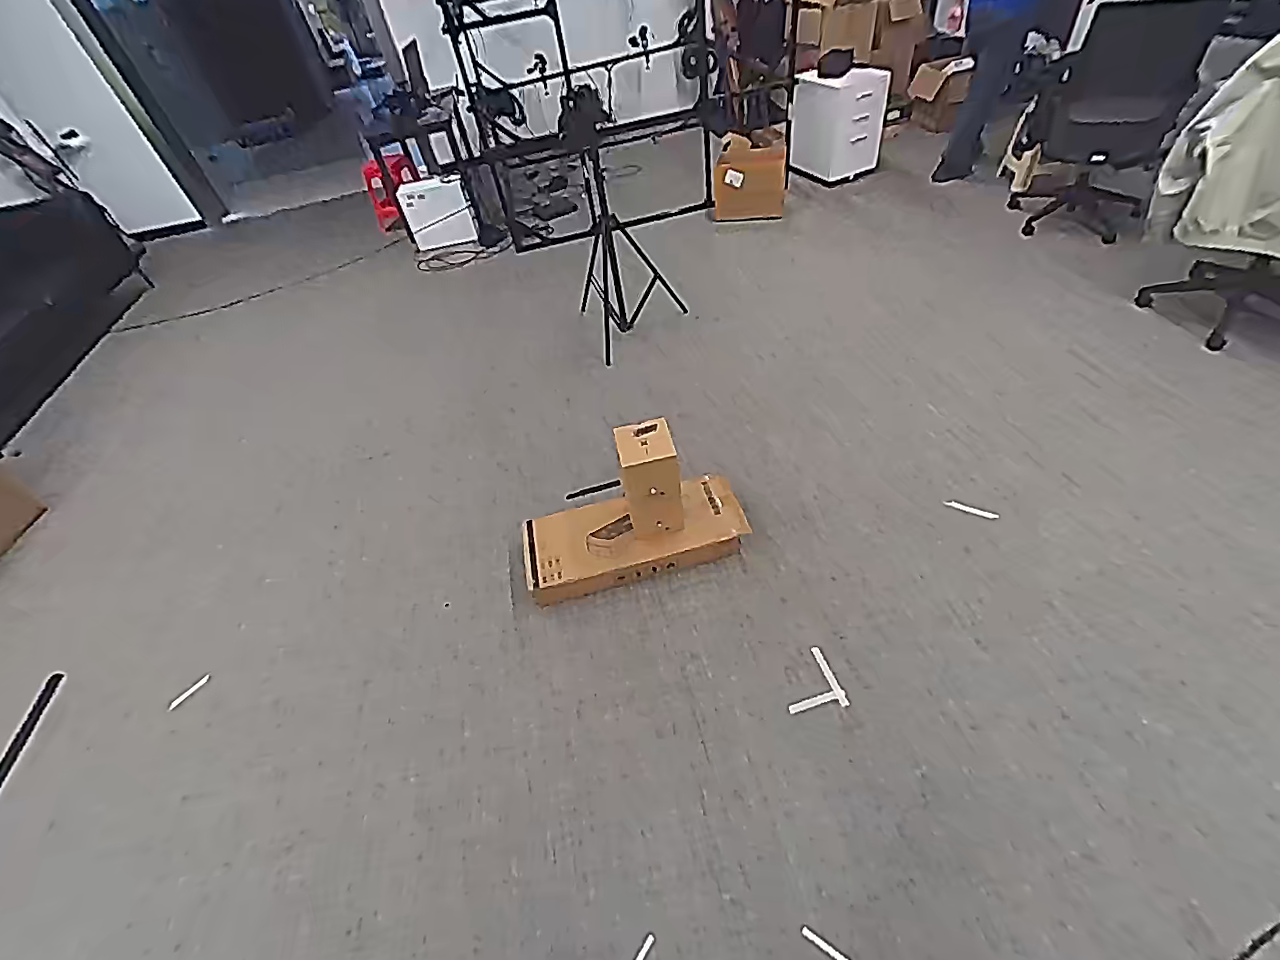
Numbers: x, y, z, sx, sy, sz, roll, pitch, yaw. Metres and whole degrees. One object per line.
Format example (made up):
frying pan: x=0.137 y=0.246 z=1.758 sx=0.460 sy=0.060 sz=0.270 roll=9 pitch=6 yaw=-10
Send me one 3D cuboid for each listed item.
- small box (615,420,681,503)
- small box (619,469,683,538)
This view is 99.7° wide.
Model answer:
small box: x=0.024 y=-0.056 z=1.666 sx=0.168 sy=0.176 sz=0.179 roll=-13 pitch=45 yaw=-1
small box: x=0.038 y=0.061 z=1.780 sx=0.168 sy=0.176 sz=0.179 roll=-16 pitch=45 yaw=-4
